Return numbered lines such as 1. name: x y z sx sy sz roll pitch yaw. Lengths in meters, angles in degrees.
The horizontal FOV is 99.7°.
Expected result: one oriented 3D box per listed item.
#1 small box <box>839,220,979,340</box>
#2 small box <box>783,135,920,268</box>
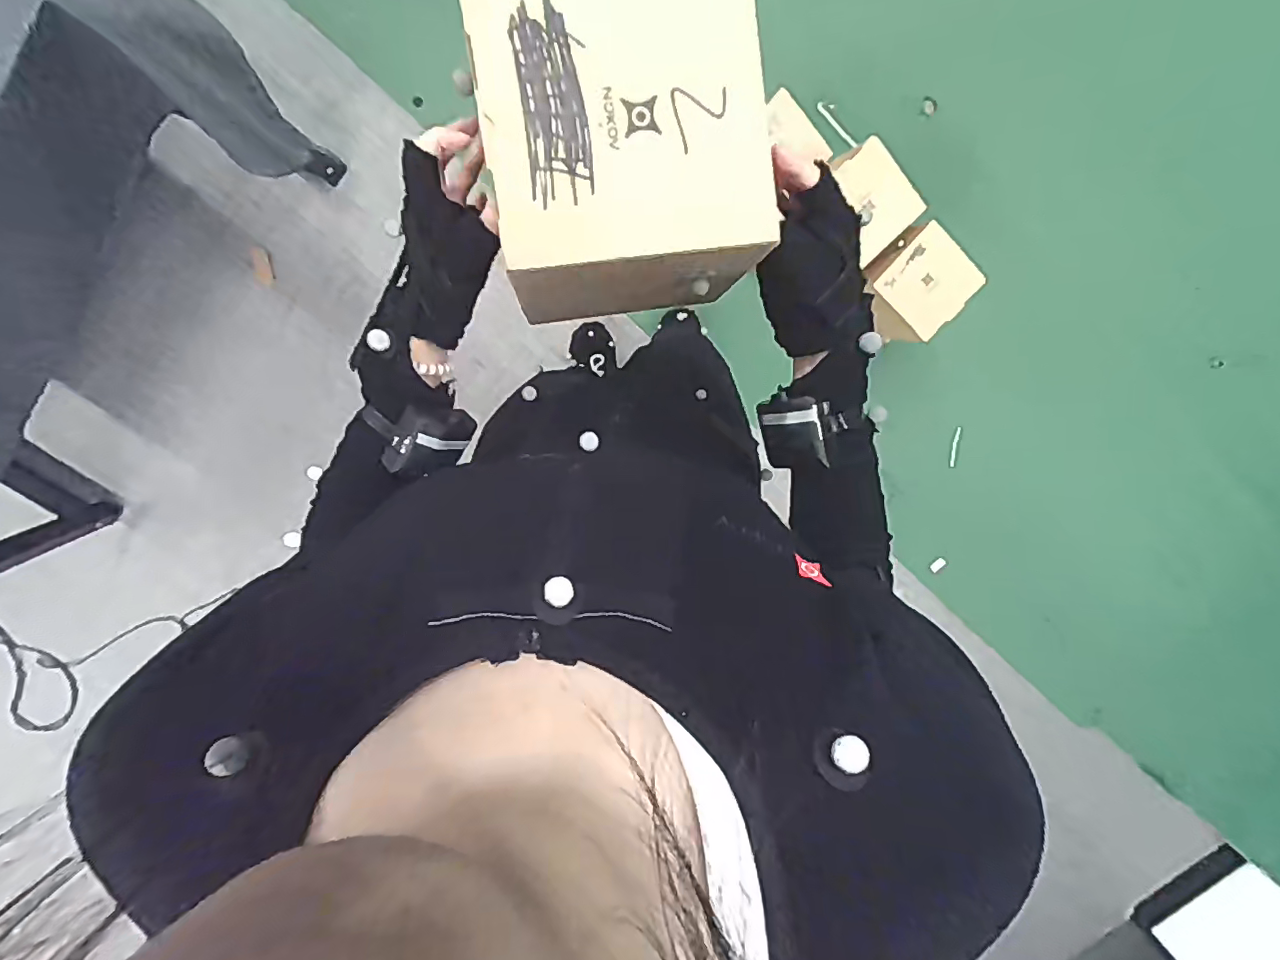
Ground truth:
1. small box: 0.572 -0.430 1.172 0.179 0.176 0.168 40 101 -16
2. small box: 0.429 -0.563 1.122 0.168 0.176 0.179 -42 104 11
